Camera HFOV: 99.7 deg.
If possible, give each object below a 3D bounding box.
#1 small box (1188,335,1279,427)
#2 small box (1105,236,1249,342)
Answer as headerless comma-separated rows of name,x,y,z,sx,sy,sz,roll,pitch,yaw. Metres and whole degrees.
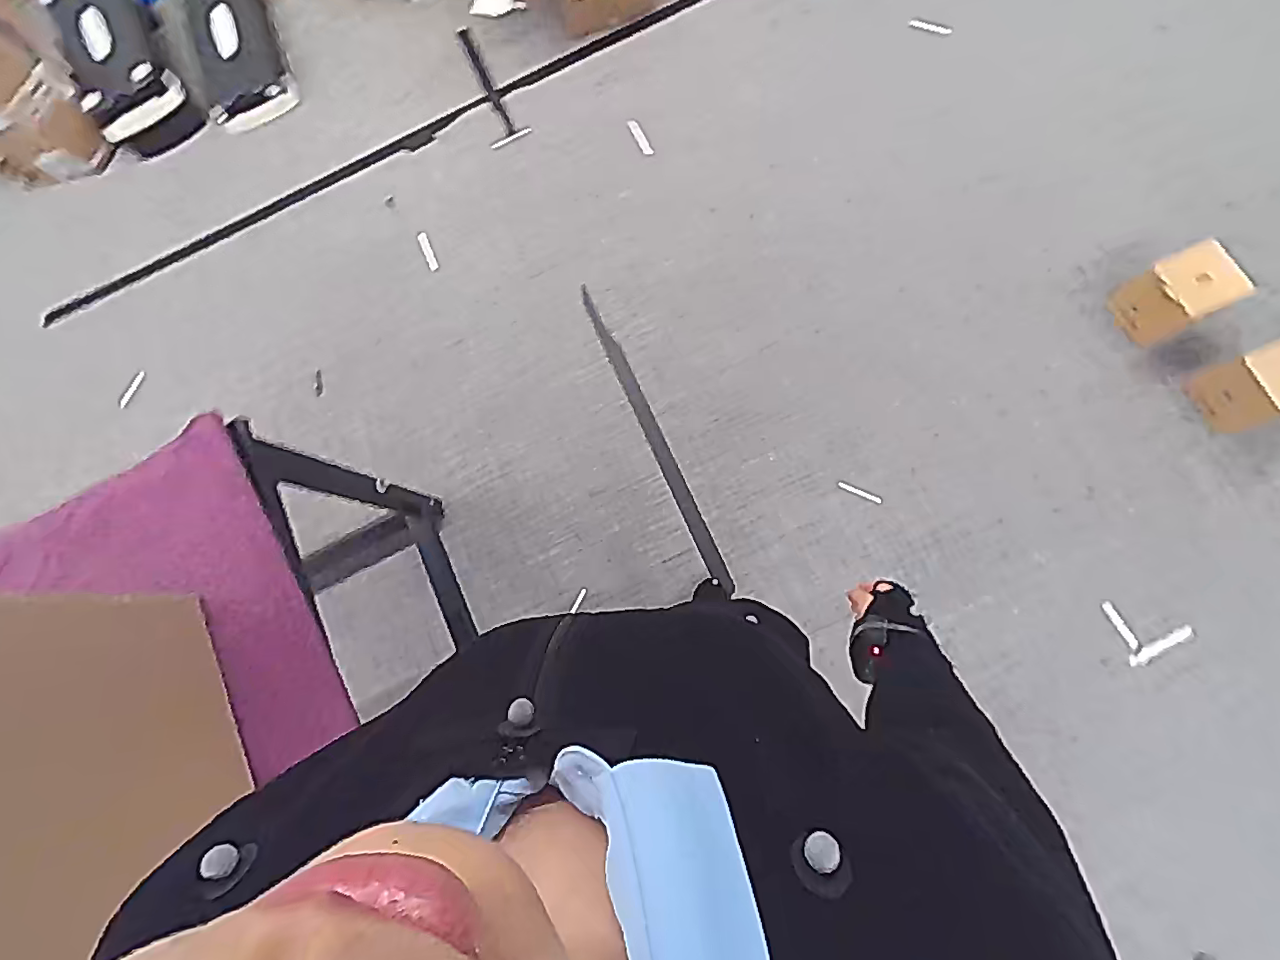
small box,1.565,-0.253,1.369,0.179,0.176,0.168,-22,77,1
small box,1.416,-0.502,1.440,0.179,0.176,0.168,-25,76,1
